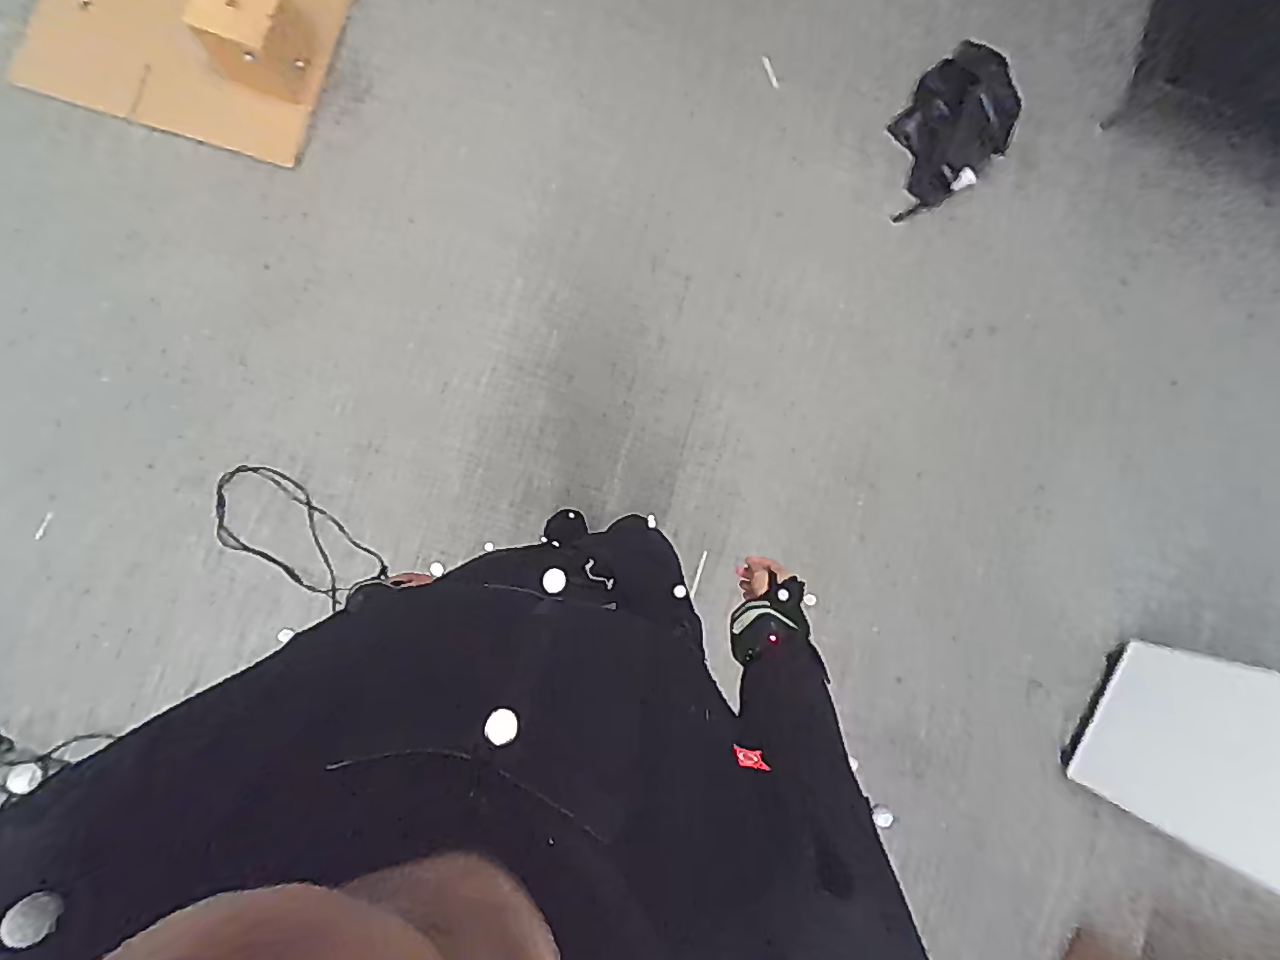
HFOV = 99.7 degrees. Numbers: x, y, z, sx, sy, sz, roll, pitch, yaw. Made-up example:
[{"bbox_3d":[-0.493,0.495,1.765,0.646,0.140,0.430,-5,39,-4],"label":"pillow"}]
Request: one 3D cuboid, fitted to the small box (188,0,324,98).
[{"bbox_3d":[-0.902,-1.061,1.286,0.179,0.176,0.168,18,85,-4],"label":"small box"}]
